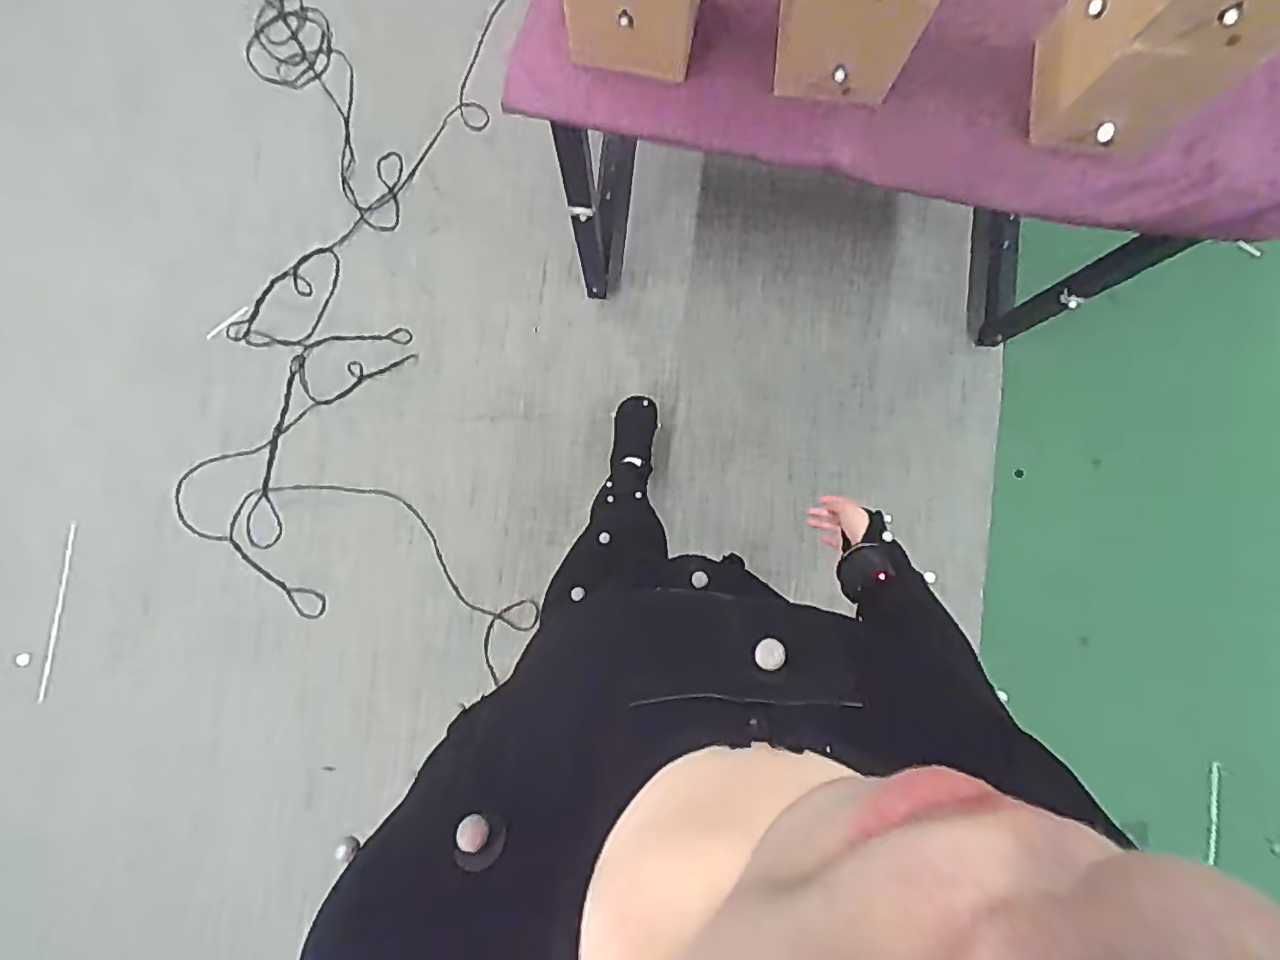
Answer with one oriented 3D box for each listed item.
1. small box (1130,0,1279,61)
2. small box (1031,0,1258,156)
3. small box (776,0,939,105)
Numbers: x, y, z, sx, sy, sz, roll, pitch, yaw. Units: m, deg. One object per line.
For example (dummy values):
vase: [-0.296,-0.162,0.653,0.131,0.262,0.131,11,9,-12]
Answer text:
small box: [0.683,-0.611,0.584,0.168,0.176,0.179,7,85,1]
small box: [0.681,-0.592,0.745,0.168,0.176,0.179,7,85,1]
small box: [0.294,-0.670,0.749,0.168,0.176,0.179,6,84,1]
